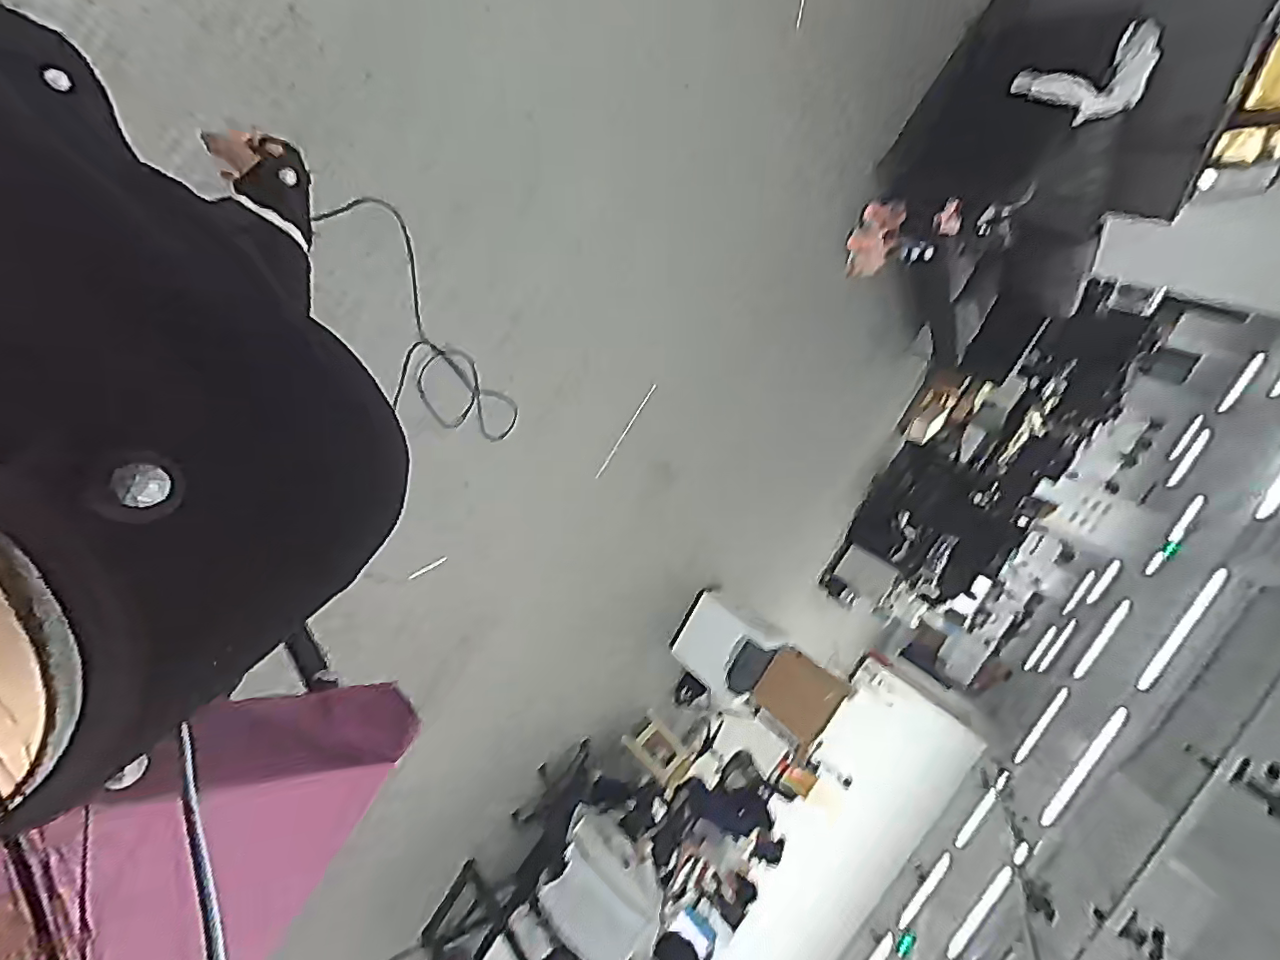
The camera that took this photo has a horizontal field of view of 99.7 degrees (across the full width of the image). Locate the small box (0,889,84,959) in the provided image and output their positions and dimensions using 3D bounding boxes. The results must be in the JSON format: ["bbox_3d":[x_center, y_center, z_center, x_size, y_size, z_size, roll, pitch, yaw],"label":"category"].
[{"bbox_3d":[-0.879,0.691,0.709,0.168,0.176,0.179,-56,144,2],"label":"small box"}]
